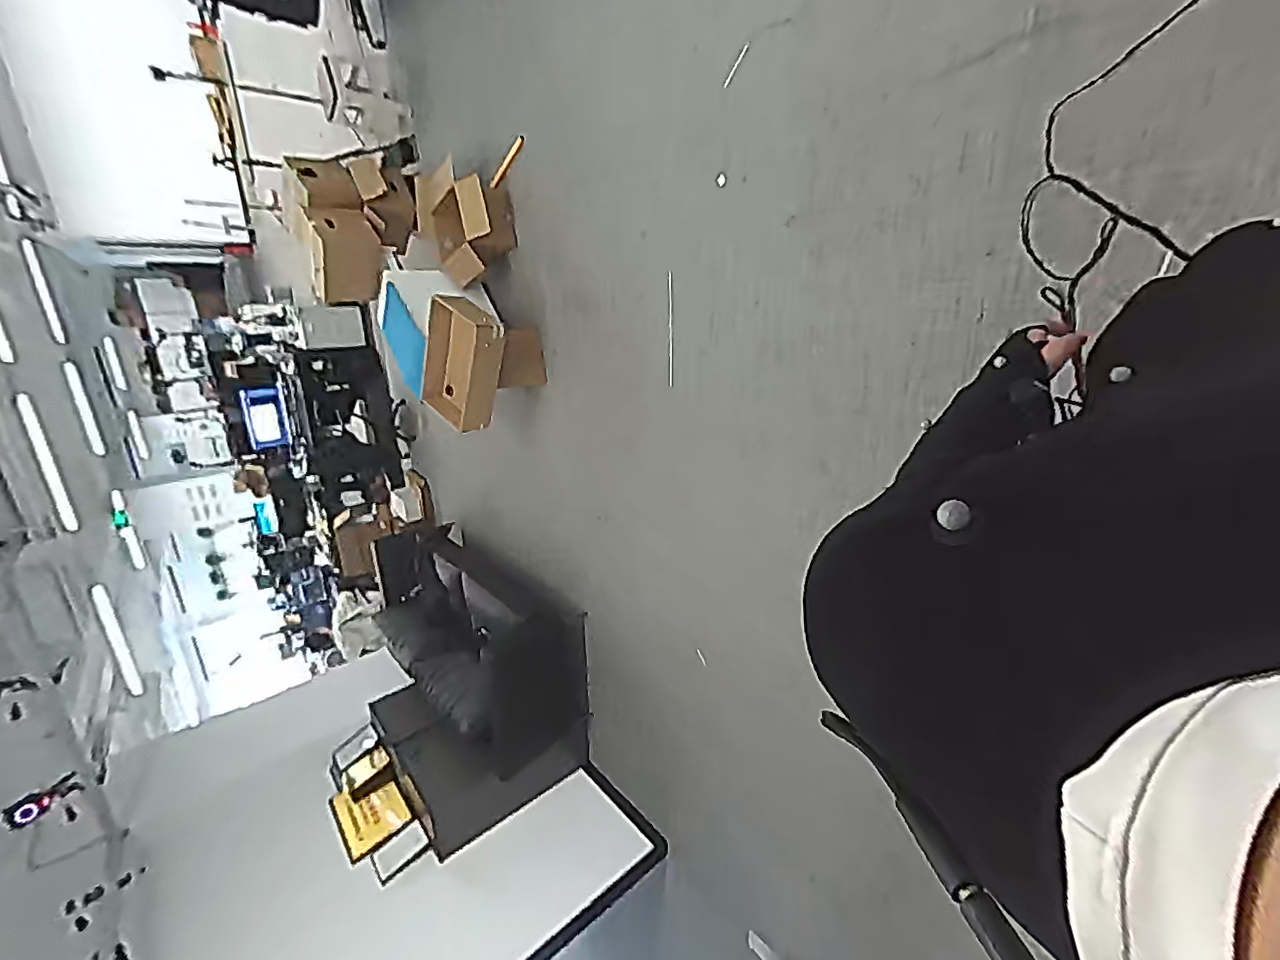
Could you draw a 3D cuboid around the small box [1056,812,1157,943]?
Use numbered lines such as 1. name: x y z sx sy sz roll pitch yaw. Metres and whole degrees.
1. small box: 1.219 1.028 1.413 0.168 0.176 0.179 11 112 50
